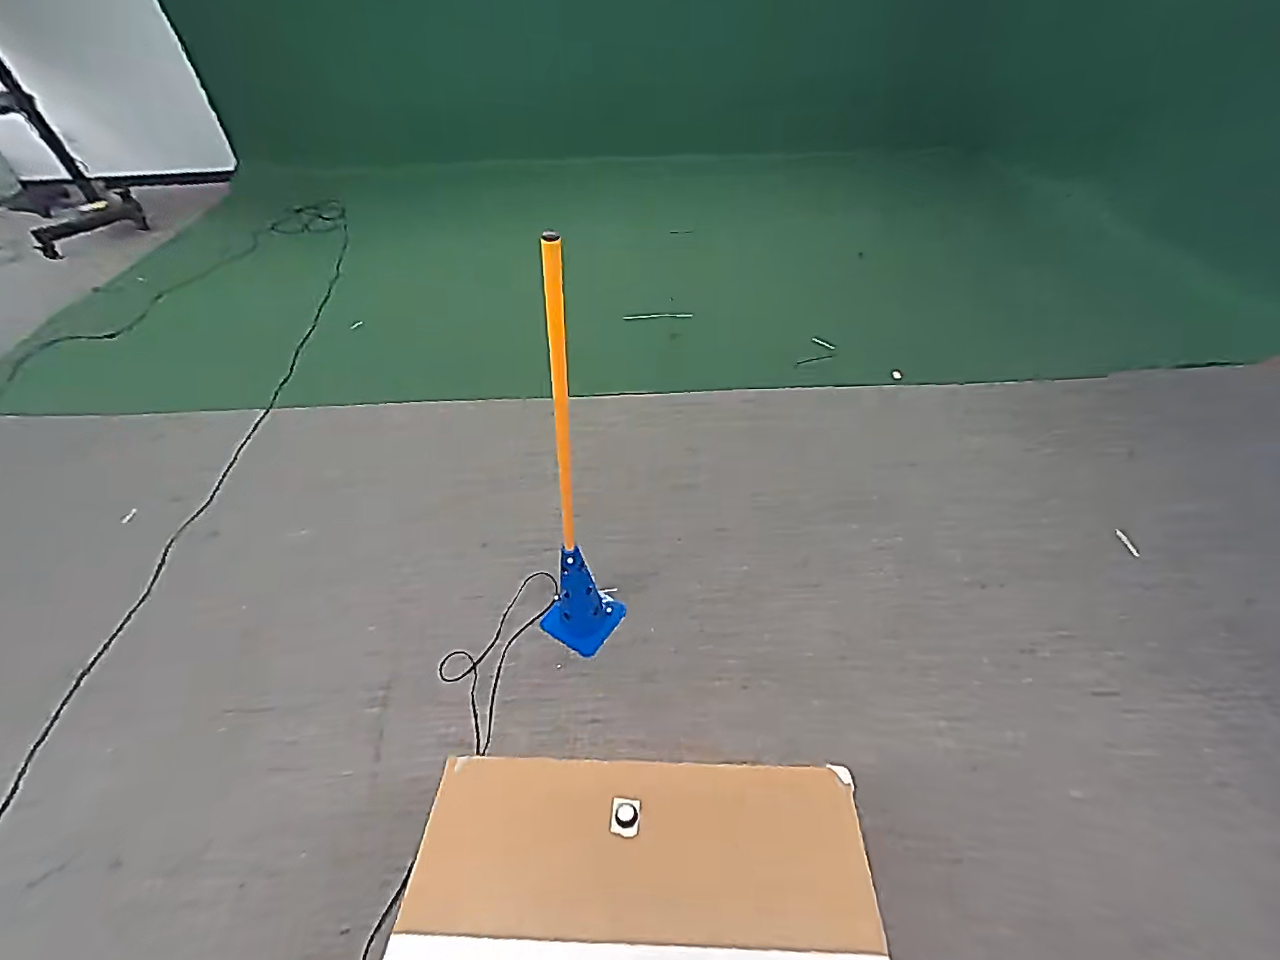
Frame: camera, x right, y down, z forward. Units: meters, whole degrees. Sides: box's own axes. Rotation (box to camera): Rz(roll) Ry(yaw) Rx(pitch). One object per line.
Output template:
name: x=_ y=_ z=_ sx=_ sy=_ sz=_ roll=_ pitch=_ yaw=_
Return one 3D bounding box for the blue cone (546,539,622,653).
blue cone: x=-0.170 y=0.290 z=1.495 sx=0.192 sy=0.380 sz=0.193 roll=24 pitch=50 yaw=22
